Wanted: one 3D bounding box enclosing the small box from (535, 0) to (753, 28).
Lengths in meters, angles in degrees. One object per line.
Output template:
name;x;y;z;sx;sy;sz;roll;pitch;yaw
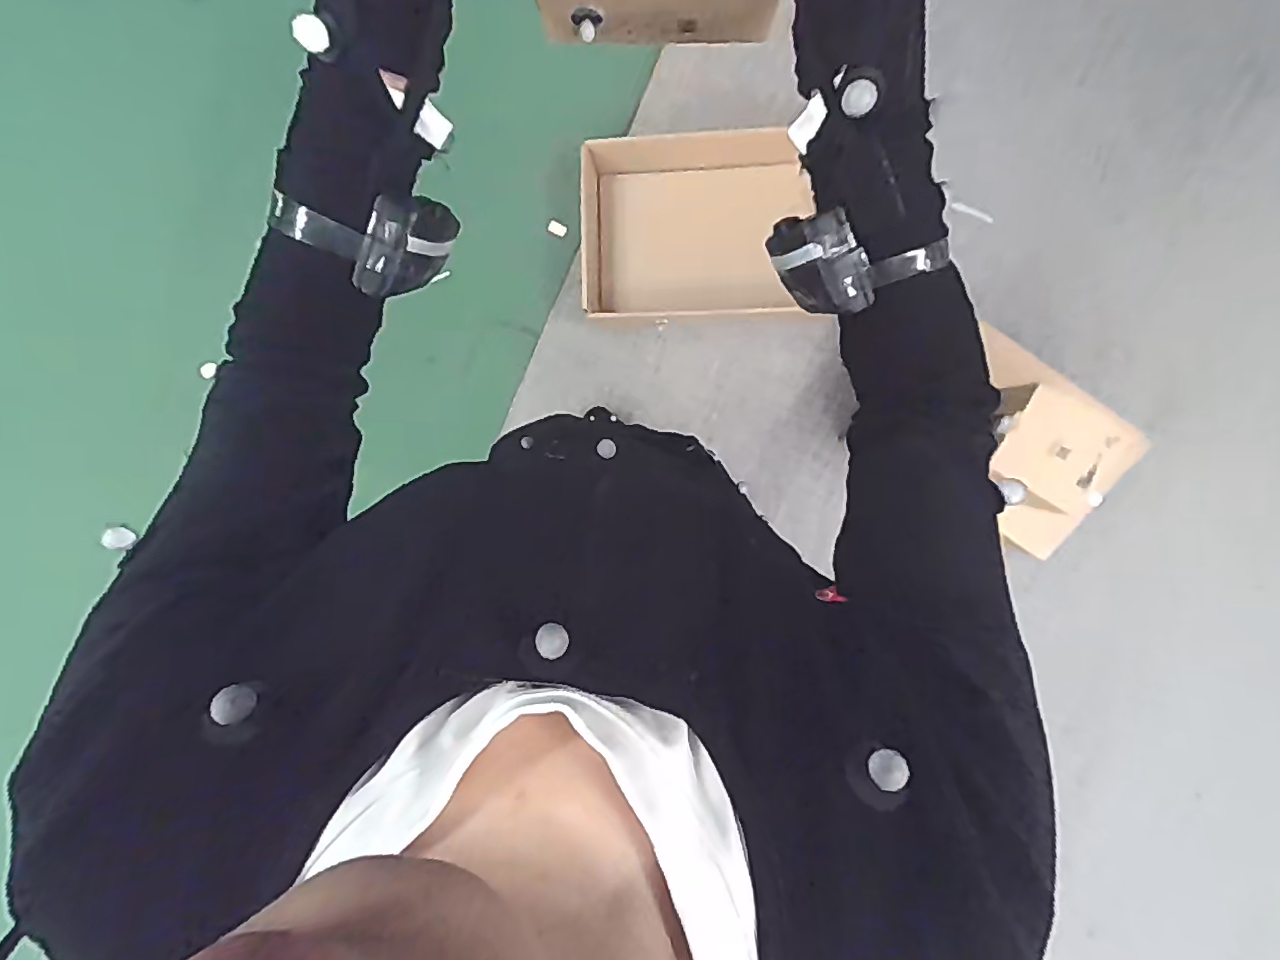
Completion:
small box;-0.002;-0.403;0.308;0.168;0.176;0.179;1;98;1

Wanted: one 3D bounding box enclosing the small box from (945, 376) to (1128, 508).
small box;0.708;-0.069;0.992;0.179;0.176;0.168;31;98;3
